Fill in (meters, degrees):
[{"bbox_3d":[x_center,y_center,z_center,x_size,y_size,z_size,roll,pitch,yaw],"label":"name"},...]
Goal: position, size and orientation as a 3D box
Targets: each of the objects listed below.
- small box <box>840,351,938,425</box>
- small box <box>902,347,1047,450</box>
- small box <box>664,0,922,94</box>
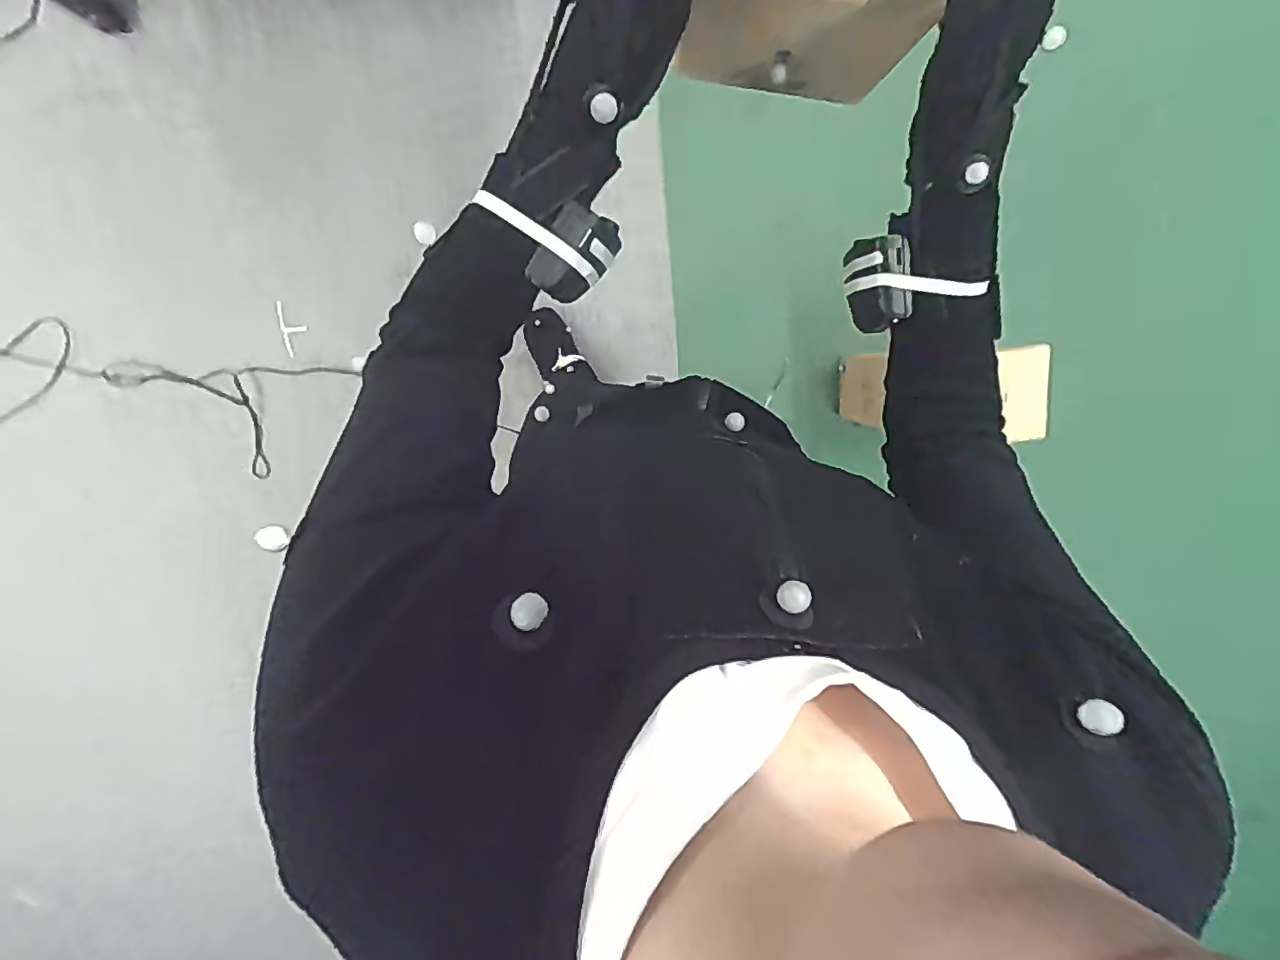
[{"bbox_3d":[0.617,-0.234,1.360,0.179,0.176,0.168,-4,104,-1],"label":"small box"},{"bbox_3d":[0.632,-0.162,1.040,0.179,0.176,0.168,-7,104,0],"label":"small box"},{"bbox_3d":[0.110,-0.409,0.368,0.168,0.176,0.179,7,103,-2],"label":"small box"}]
